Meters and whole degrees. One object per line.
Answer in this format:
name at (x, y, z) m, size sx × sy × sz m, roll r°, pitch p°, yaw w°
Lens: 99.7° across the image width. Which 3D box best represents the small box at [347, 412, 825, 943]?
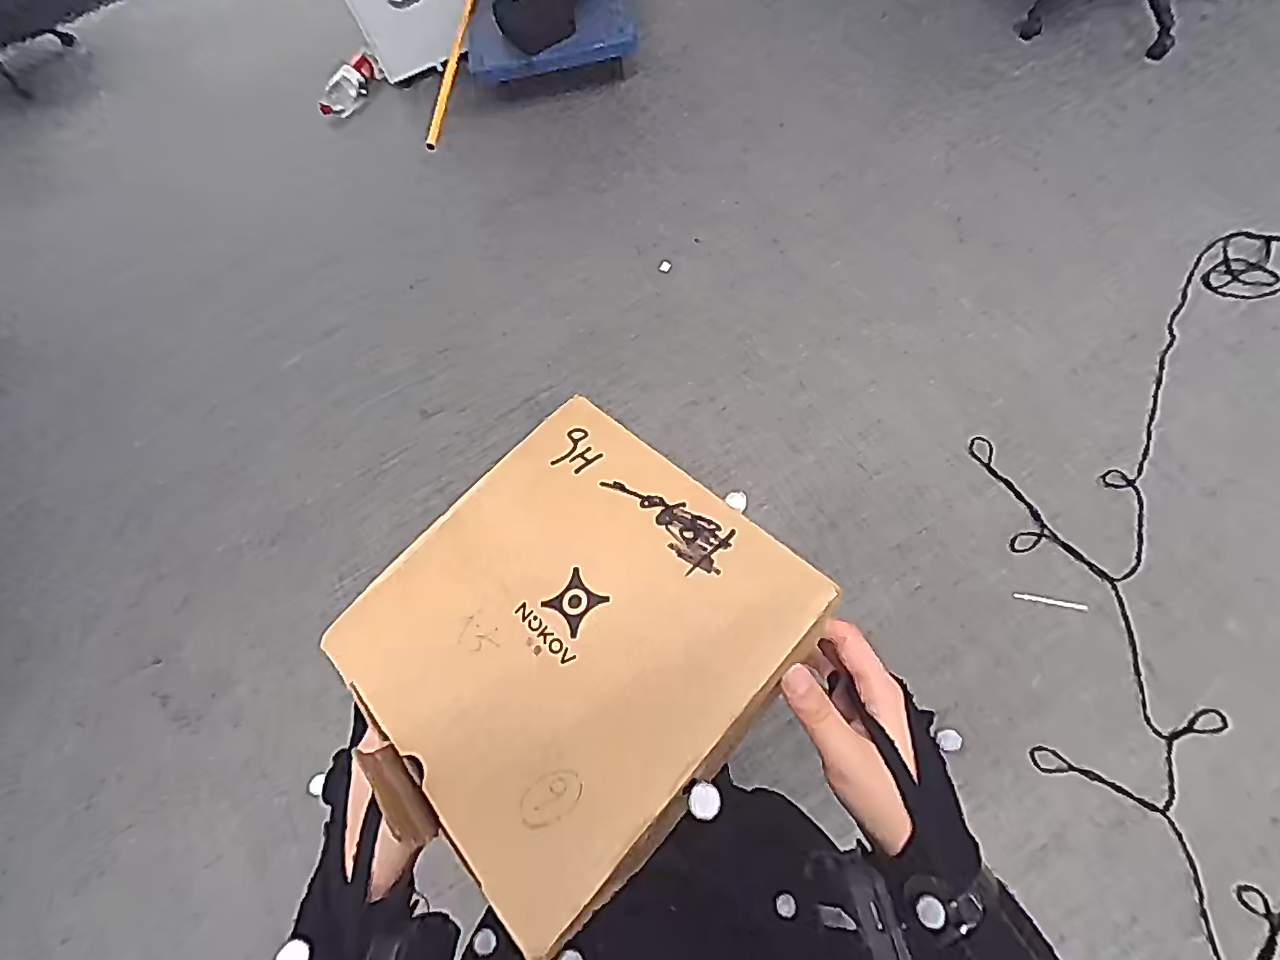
small box at (-0.016, 0.101, 0.318) m, size 0.168 × 0.176 × 0.179 m, roll 38°, pitch 77°, yaw 26°
